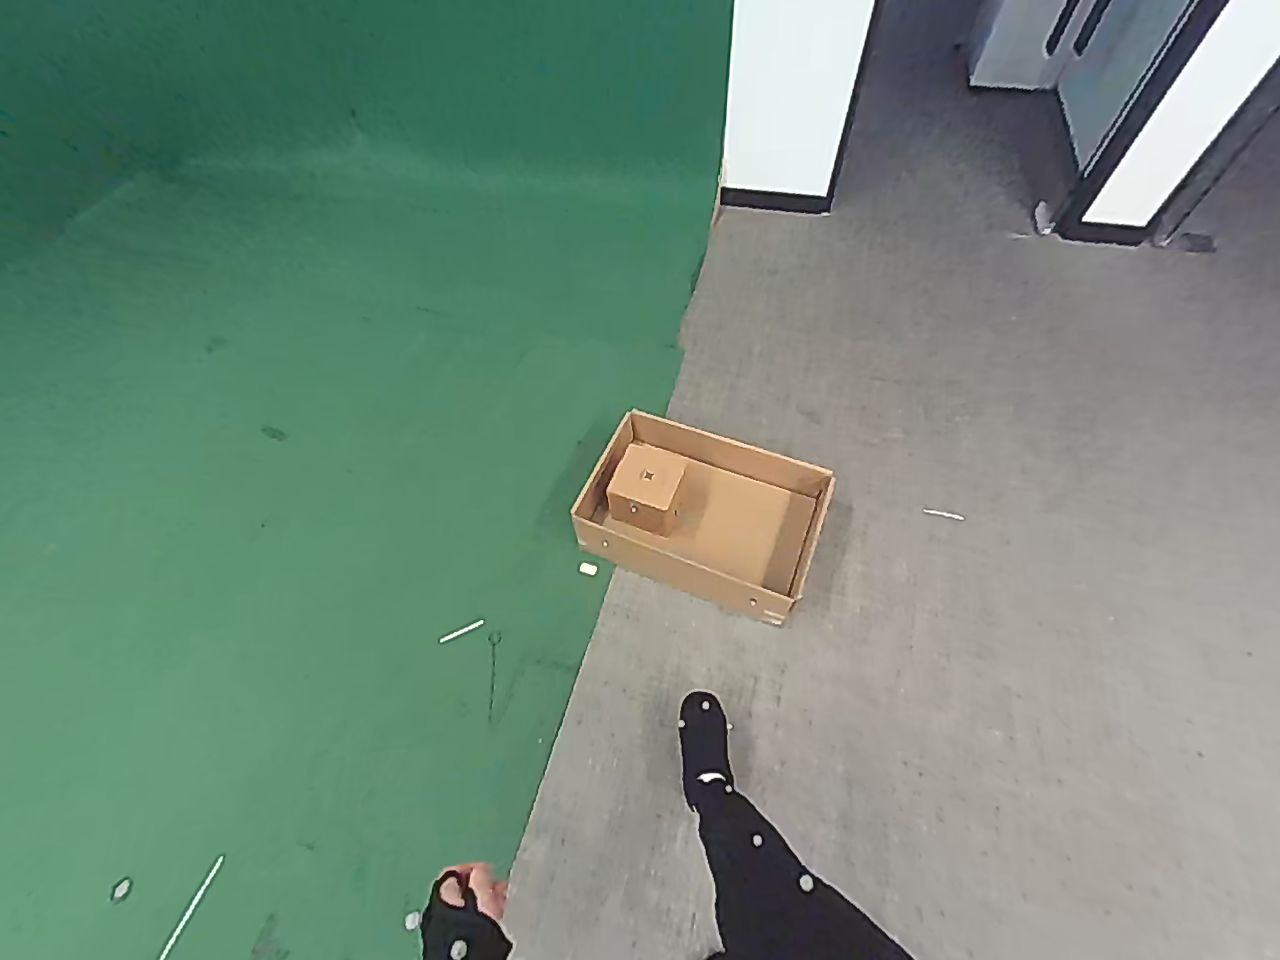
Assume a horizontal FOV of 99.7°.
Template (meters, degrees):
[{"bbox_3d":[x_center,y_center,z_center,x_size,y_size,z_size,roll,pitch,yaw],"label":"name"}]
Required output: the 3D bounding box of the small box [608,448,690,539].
[{"bbox_3d":[0.028,0.042,1.512,0.179,0.176,0.168,19,61,14],"label":"small box"}]
